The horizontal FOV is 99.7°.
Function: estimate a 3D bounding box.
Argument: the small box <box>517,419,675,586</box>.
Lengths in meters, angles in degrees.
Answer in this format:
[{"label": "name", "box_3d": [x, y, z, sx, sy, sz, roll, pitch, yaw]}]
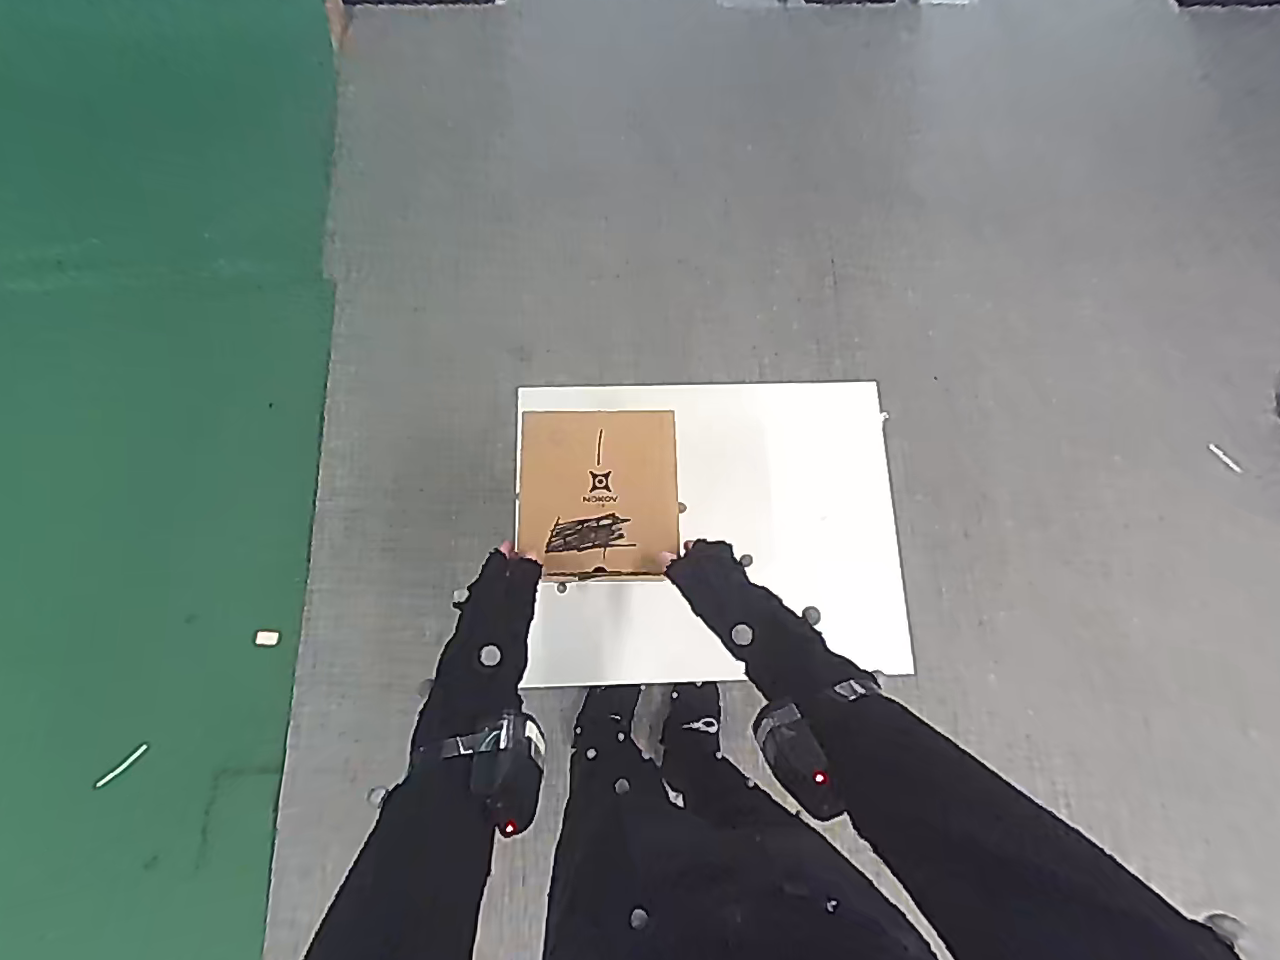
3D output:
[{"label": "small box", "box_3d": [-0.046, 0.036, 0.645, 0.168, 0.176, 0.179, 0, 76, -2]}]
